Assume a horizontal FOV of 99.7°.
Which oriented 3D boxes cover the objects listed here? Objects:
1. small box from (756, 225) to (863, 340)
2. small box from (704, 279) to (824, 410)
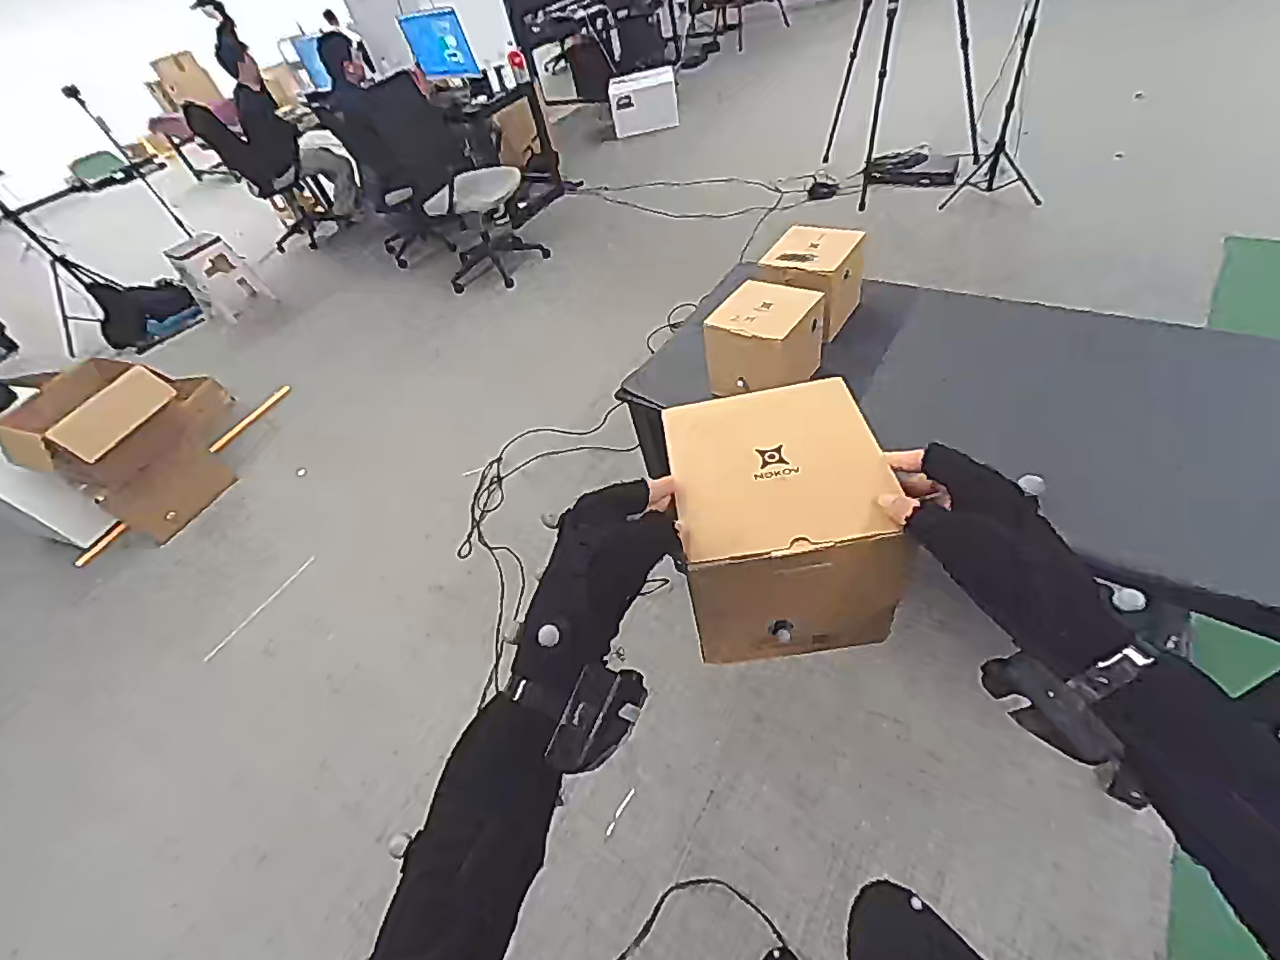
[{"bbox_3d":[0.372,-0.433,1.188,0.168,0.176,0.179,22,57,30],"label":"small box"},{"bbox_3d":[0.245,-0.269,1.073,0.168,0.176,0.179,24,57,31],"label":"small box"}]
